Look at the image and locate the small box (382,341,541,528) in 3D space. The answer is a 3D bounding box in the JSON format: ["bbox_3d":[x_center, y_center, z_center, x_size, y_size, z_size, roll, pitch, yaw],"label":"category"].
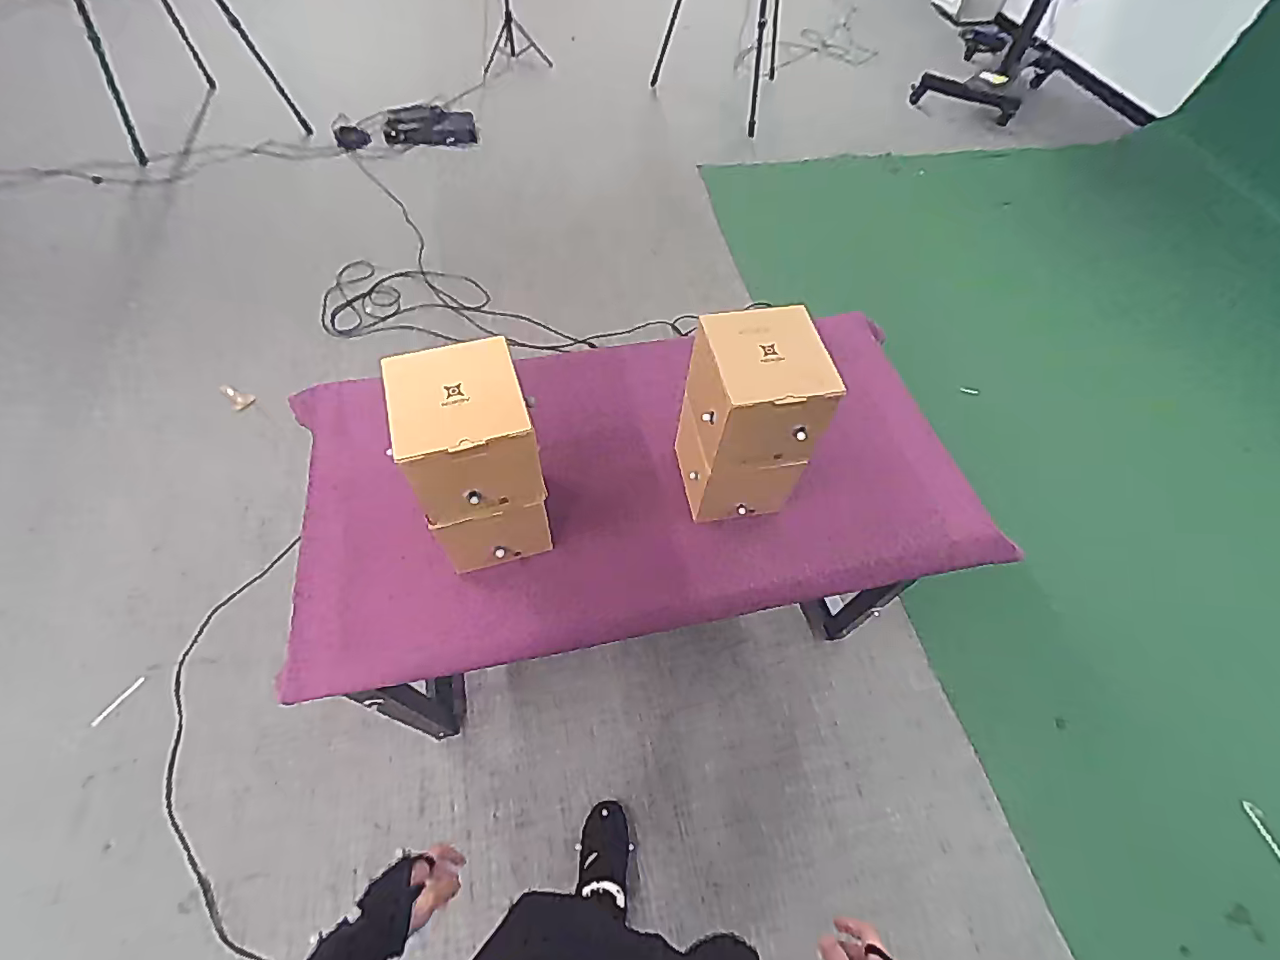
[{"bbox_3d":[-0.240,-0.060,0.746,0.168,0.176,0.179,-14,60,-13],"label":"small box"}]

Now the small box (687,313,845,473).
[{"bbox_3d":[0.176,-0.123,0.814,0.168,0.176,0.179,-7,58,-8],"label":"small box"}]

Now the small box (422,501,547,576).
[{"bbox_3d":[-0.252,0.032,0.880,0.168,0.176,0.179,-13,59,-11],"label":"small box"}]
